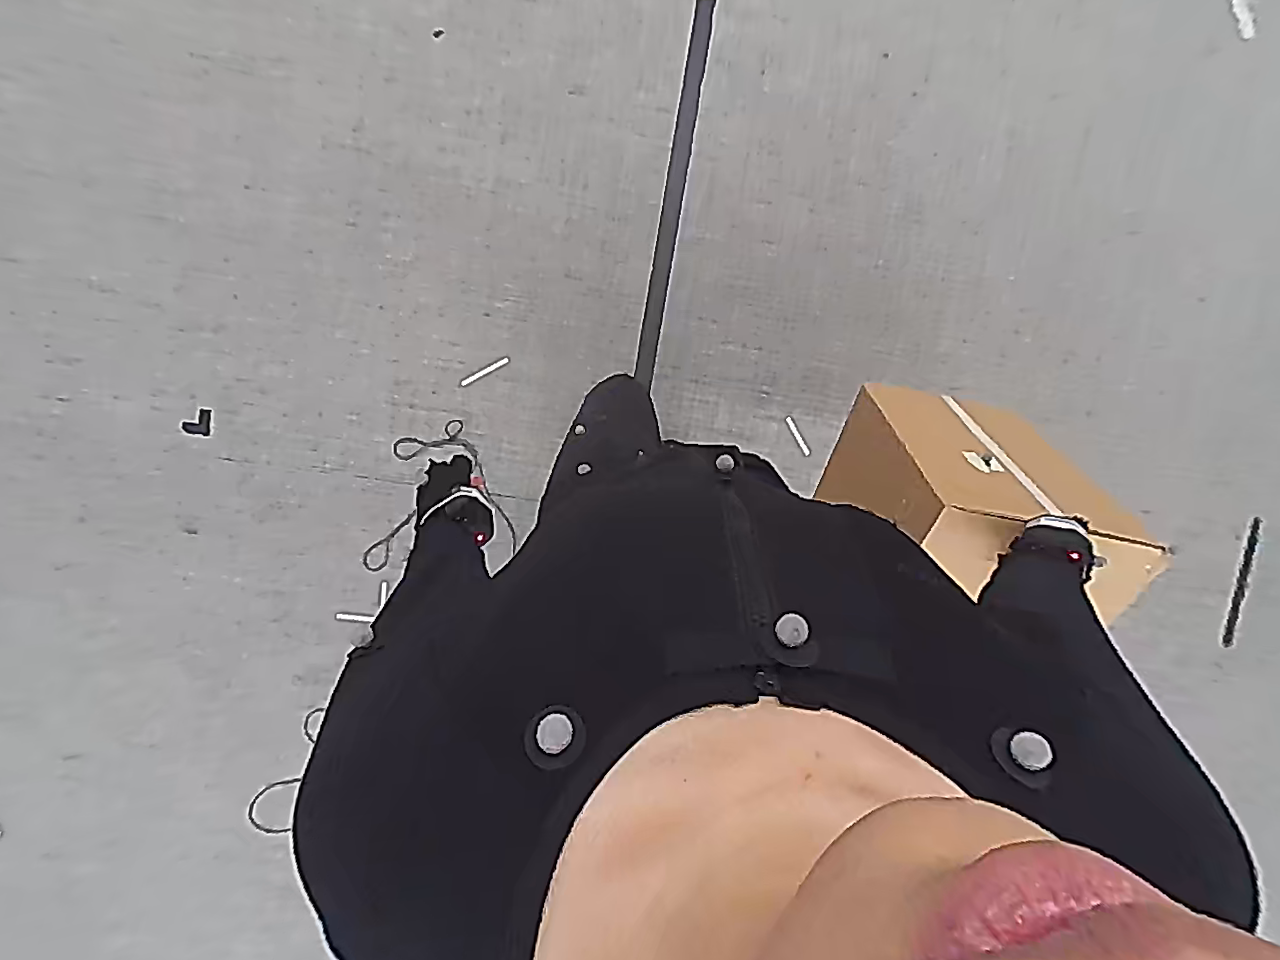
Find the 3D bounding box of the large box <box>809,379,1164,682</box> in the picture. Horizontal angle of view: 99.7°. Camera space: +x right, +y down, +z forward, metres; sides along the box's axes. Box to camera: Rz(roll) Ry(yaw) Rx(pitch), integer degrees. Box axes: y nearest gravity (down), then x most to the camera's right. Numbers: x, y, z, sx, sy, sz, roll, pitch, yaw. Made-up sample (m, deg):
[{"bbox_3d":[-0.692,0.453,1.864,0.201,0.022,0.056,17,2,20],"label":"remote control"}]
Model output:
[{"bbox_3d":[0.530,0.071,0.951,0.320,0.408,0.320,11,125,-2],"label":"large box"}]
